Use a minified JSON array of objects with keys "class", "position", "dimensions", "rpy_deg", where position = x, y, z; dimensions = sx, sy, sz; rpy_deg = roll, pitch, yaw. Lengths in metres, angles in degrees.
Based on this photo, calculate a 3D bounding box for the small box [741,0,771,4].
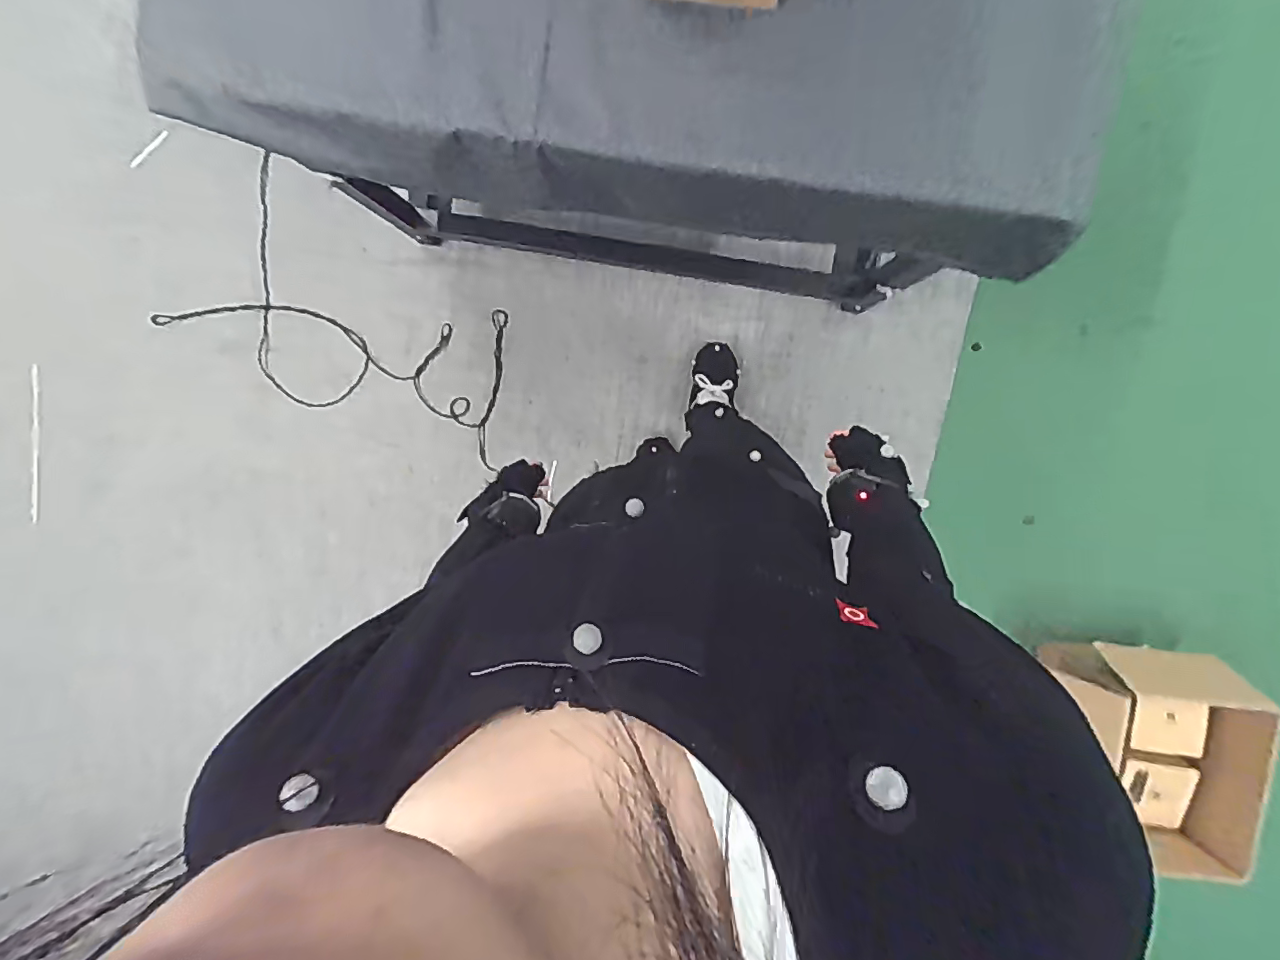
[{"class":"small box","position":[0.091,-0.659,0.571],"dimensions":[0.168,0.176,0.179],"rpy_deg":[9,97,3]}]
